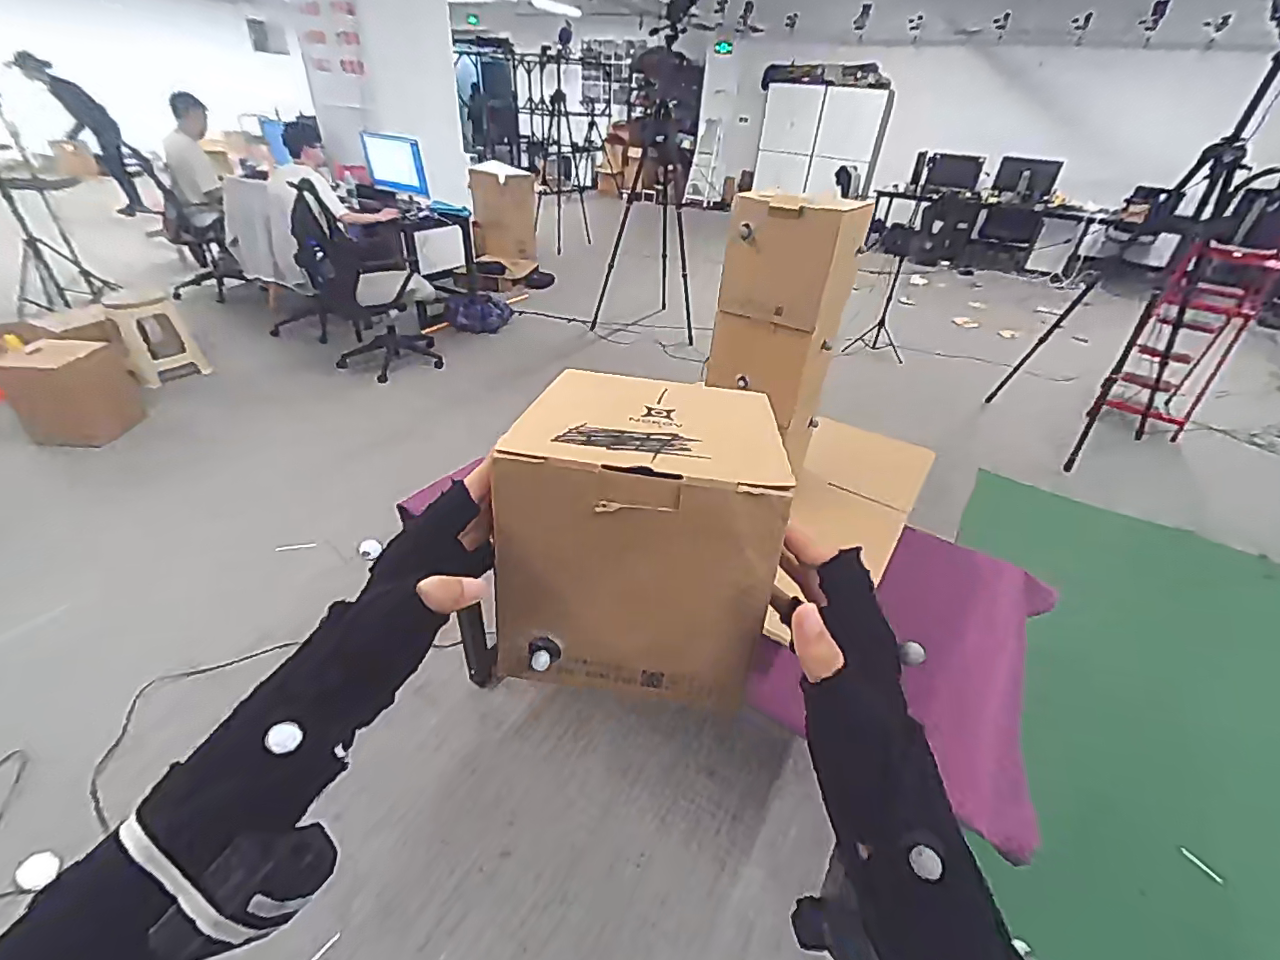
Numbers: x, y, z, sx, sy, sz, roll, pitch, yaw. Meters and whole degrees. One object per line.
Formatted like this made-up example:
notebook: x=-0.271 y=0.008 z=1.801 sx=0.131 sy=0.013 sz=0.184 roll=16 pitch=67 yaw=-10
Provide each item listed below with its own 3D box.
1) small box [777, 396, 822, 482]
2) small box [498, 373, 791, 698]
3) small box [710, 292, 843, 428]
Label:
small box: x=0.228 y=-0.083 z=1.051 sx=0.168 sy=0.176 sz=0.179 roll=24 pitch=38 yaw=27
small box: x=0.006 y=0.032 z=0.403 sx=0.168 sy=0.176 sz=0.179 roll=8 pitch=26 yaw=4
small box: x=0.234 y=-0.216 z=0.955 sx=0.168 sy=0.176 sz=0.179 roll=23 pitch=38 yaw=25
